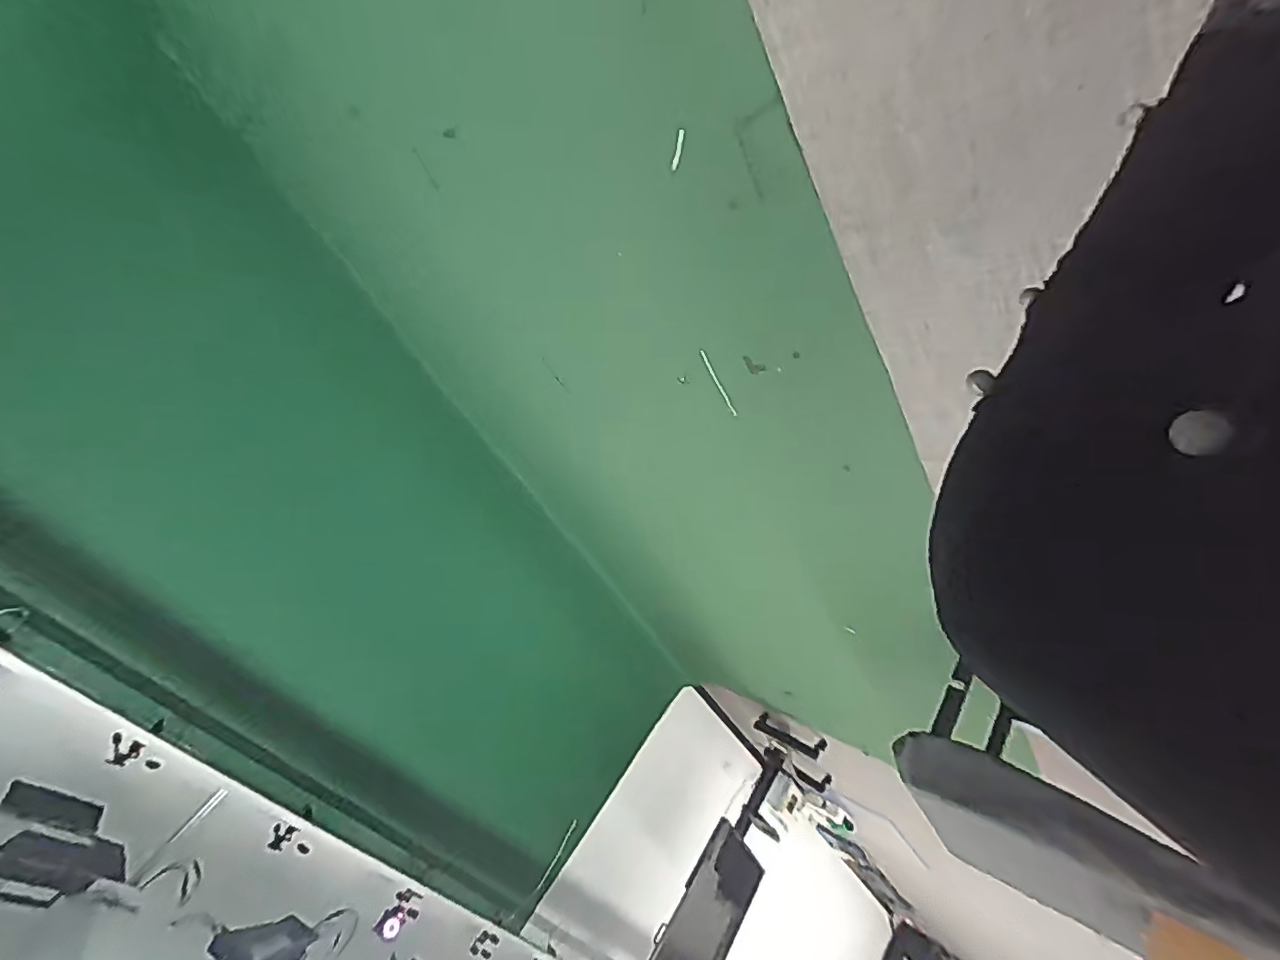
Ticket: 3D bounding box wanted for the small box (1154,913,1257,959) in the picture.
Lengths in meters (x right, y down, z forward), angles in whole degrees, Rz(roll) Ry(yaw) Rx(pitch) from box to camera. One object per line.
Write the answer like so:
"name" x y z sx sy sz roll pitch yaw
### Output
"small box" 1.383 1.219 1.320 0.179 0.176 0.168 5 137 51
